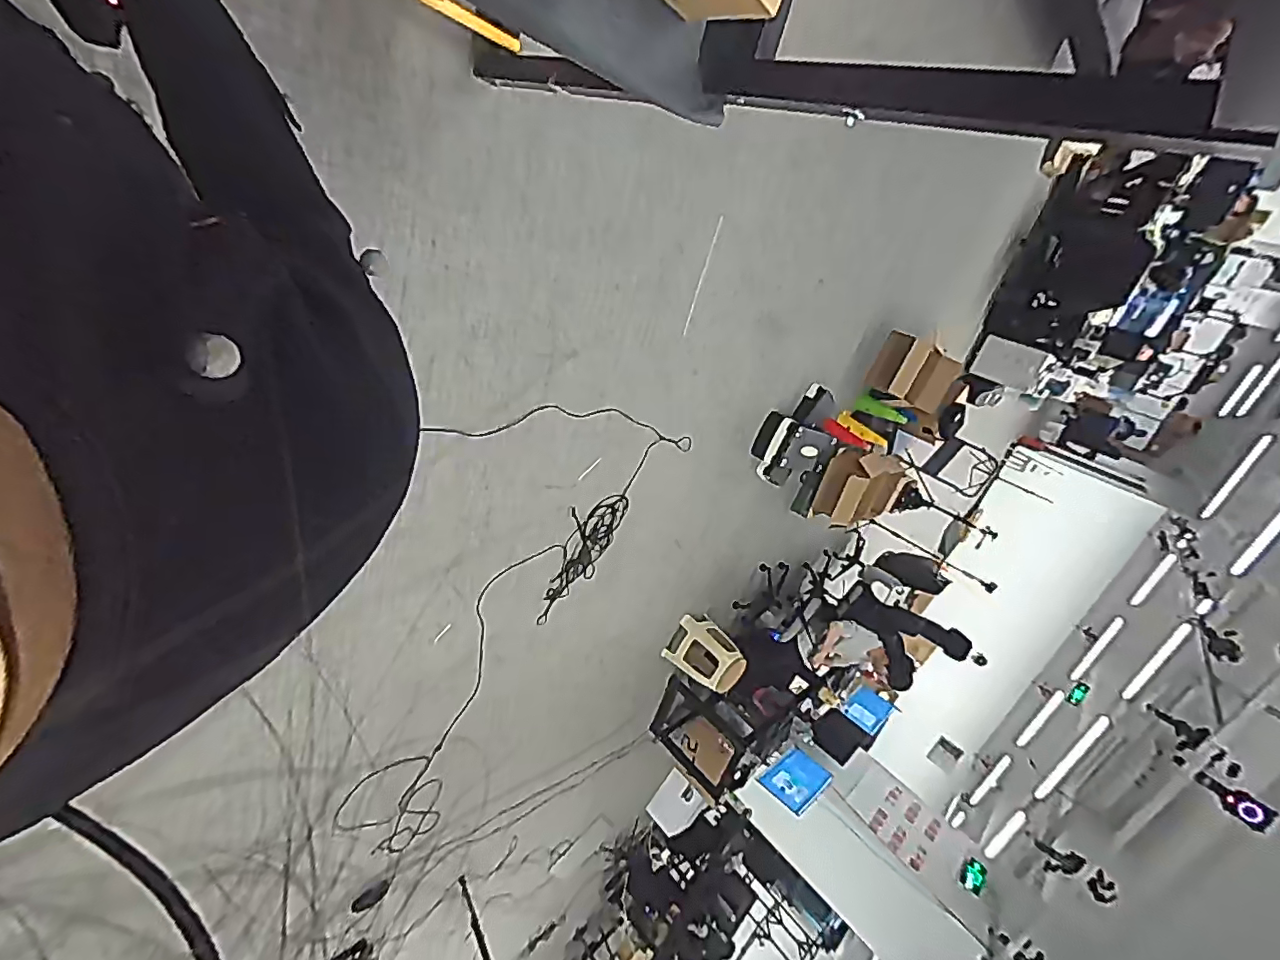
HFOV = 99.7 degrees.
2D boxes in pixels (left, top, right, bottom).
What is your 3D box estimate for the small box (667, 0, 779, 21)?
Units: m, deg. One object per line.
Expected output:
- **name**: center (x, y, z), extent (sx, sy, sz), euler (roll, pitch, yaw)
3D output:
- **small box**: center (0.097, -0.729, 0.688), extent (0.168, 0.176, 0.179), euler (-4, 120, -48)
